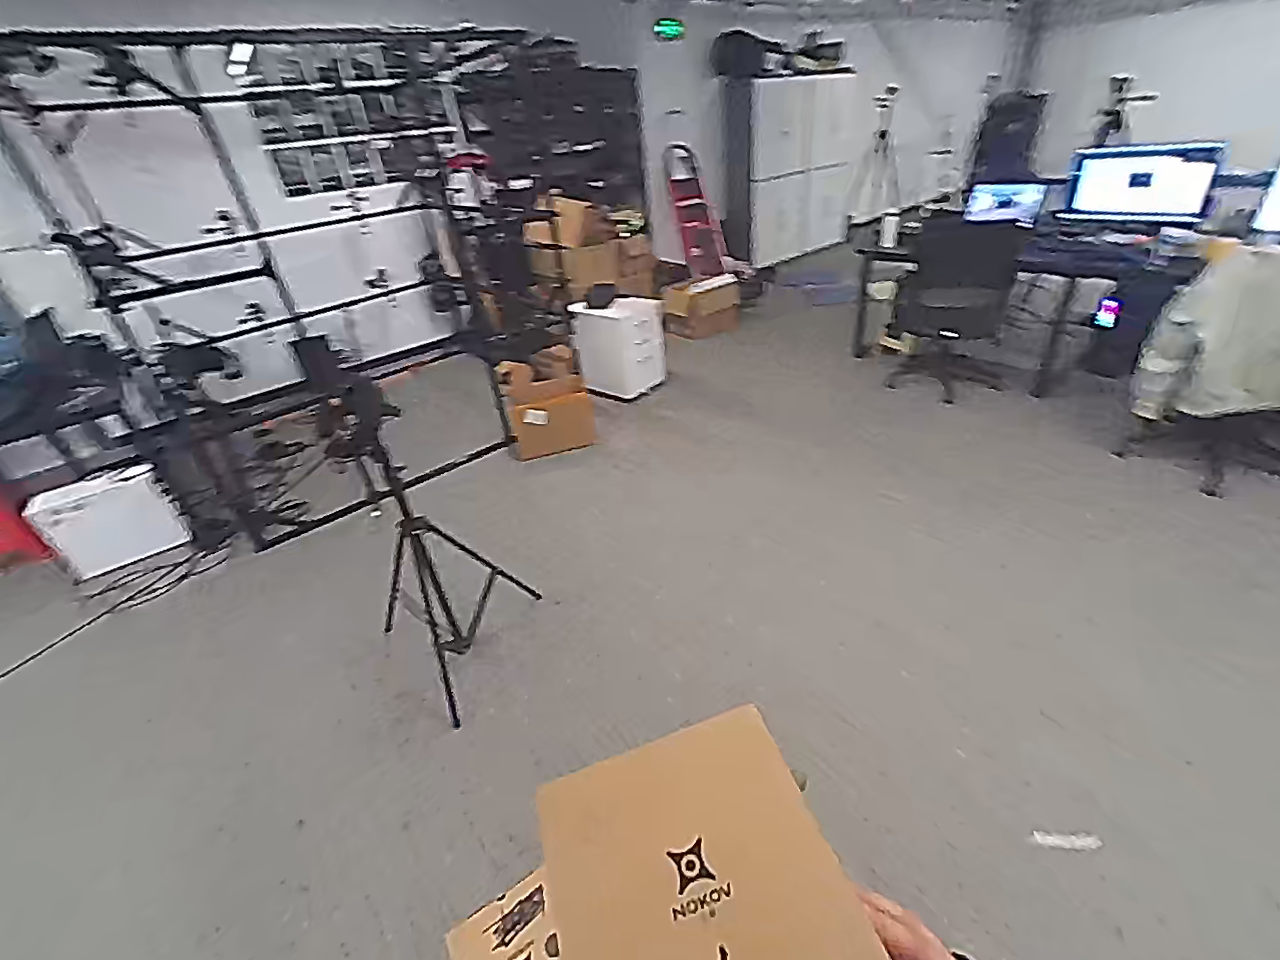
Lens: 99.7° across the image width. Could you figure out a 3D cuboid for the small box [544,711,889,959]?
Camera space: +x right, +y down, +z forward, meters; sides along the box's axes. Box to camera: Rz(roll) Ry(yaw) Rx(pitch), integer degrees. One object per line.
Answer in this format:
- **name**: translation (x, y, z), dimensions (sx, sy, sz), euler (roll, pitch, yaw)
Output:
- **small box**: translation (0.044, 0.296, 0.358), dimensions (0.168, 0.176, 0.179), euler (-17, 39, -8)
